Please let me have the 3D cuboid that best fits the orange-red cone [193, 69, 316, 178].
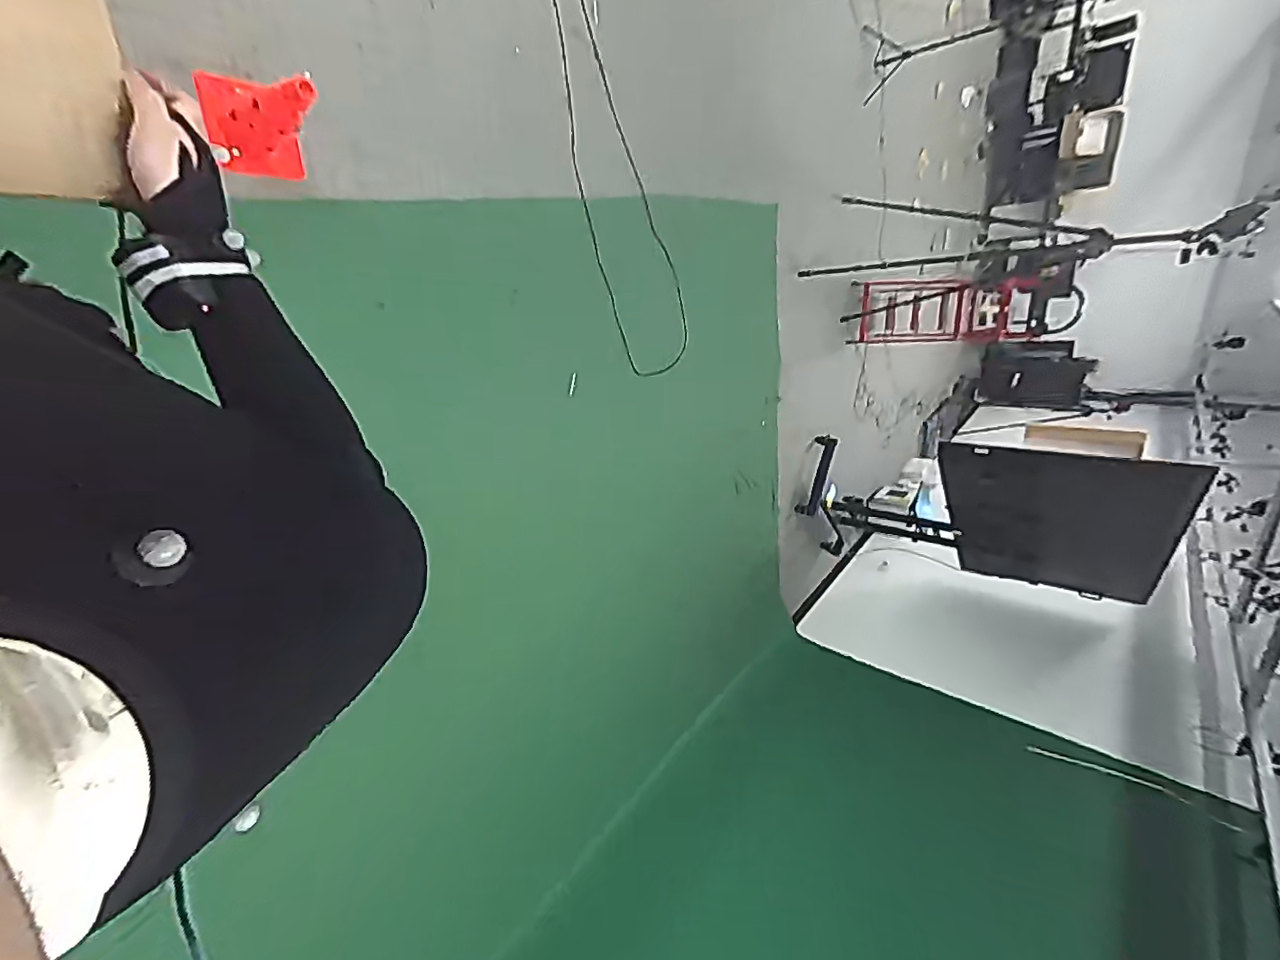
[{"bbox_3d":[-0.805,-0.818,1.194,0.199,0.360,0.198,-21,117,-47],"label":"orange-red cone"}]
